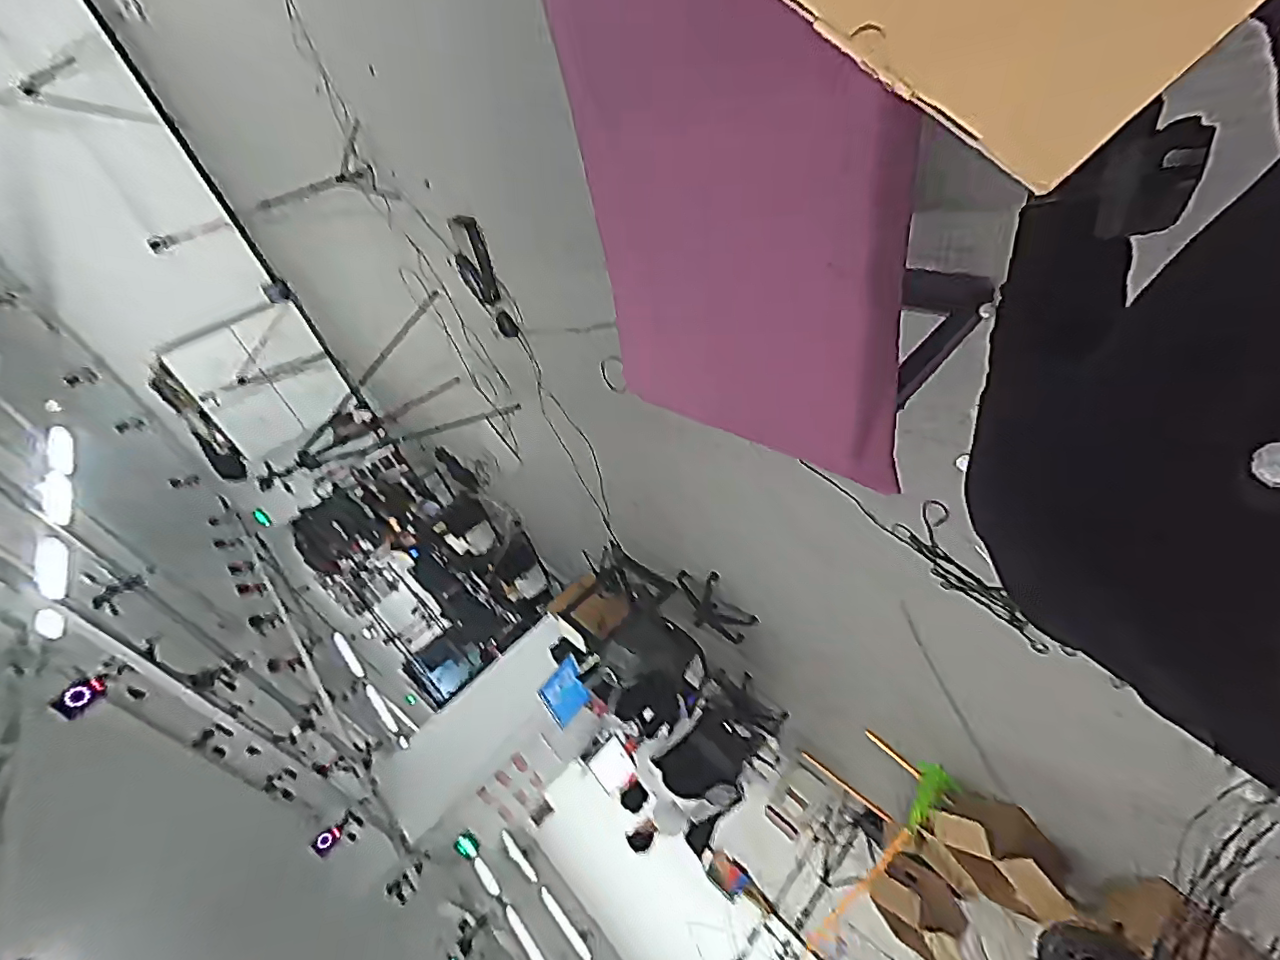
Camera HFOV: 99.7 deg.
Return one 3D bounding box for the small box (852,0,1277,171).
[{"bbox_3d":[0.160,-0.245,0.151,0.168,0.176,0.179,39,155,1],"label":"small box"}]
